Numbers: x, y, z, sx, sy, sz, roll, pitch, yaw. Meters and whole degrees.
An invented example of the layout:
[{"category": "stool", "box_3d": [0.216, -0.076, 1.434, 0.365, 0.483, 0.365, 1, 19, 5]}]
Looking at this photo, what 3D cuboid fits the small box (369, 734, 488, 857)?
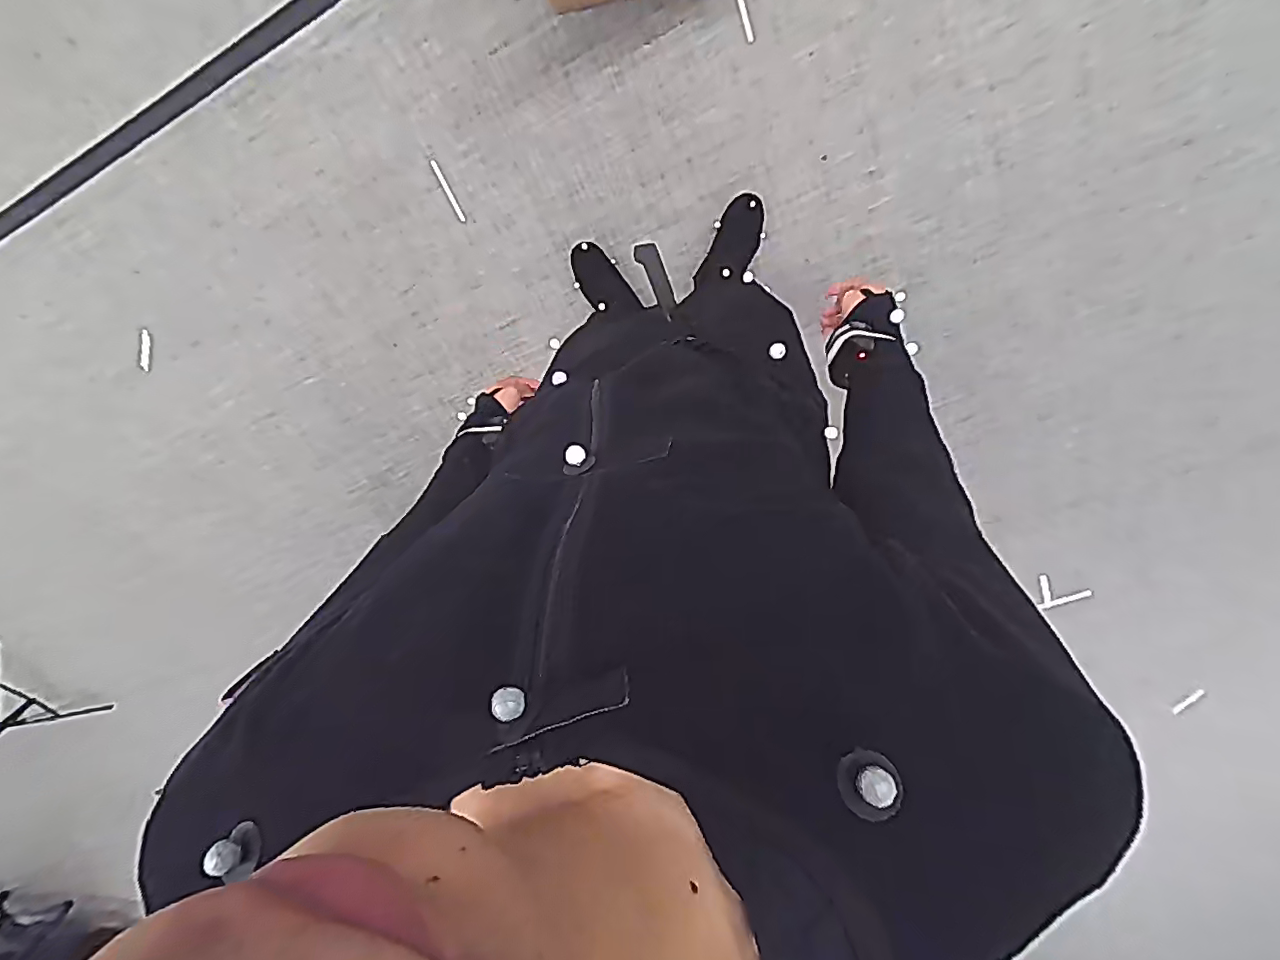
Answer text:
[{"category": "small box", "box_3d": [-0.476, 0.726, 1.254, 0.179, 0.176, 0.168, -32, 112, 19]}]
